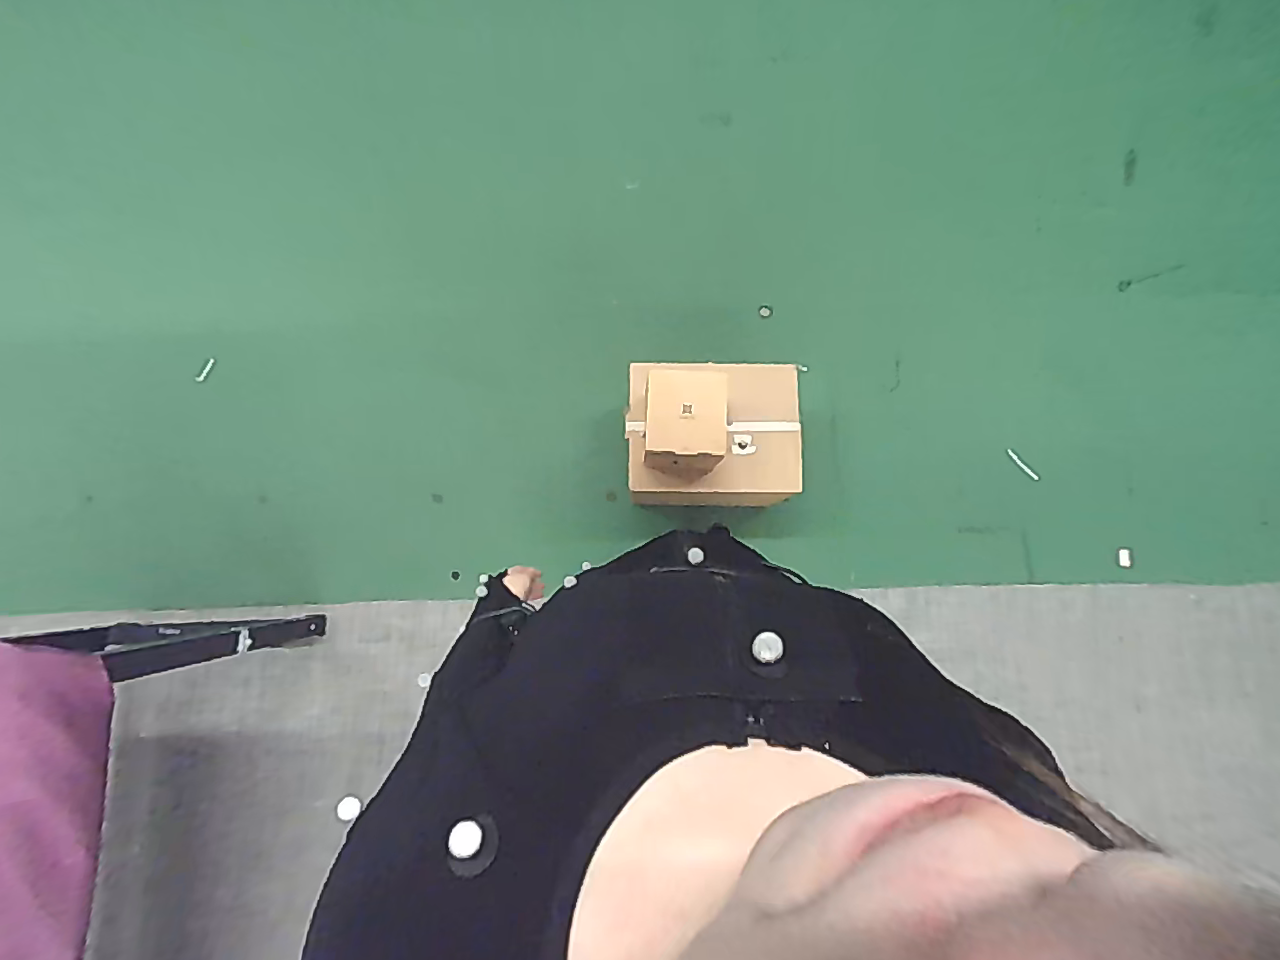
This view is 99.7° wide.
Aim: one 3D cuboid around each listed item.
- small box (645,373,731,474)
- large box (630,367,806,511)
[{"bbox_3d":[0.097,-0.116,1.159,0.168,0.176,0.179,2,82,0],"label":"small box"},{"bbox_3d":[0.177,-0.090,1.402,0.408,0.320,0.320,0,82,-1],"label":"large box"}]
